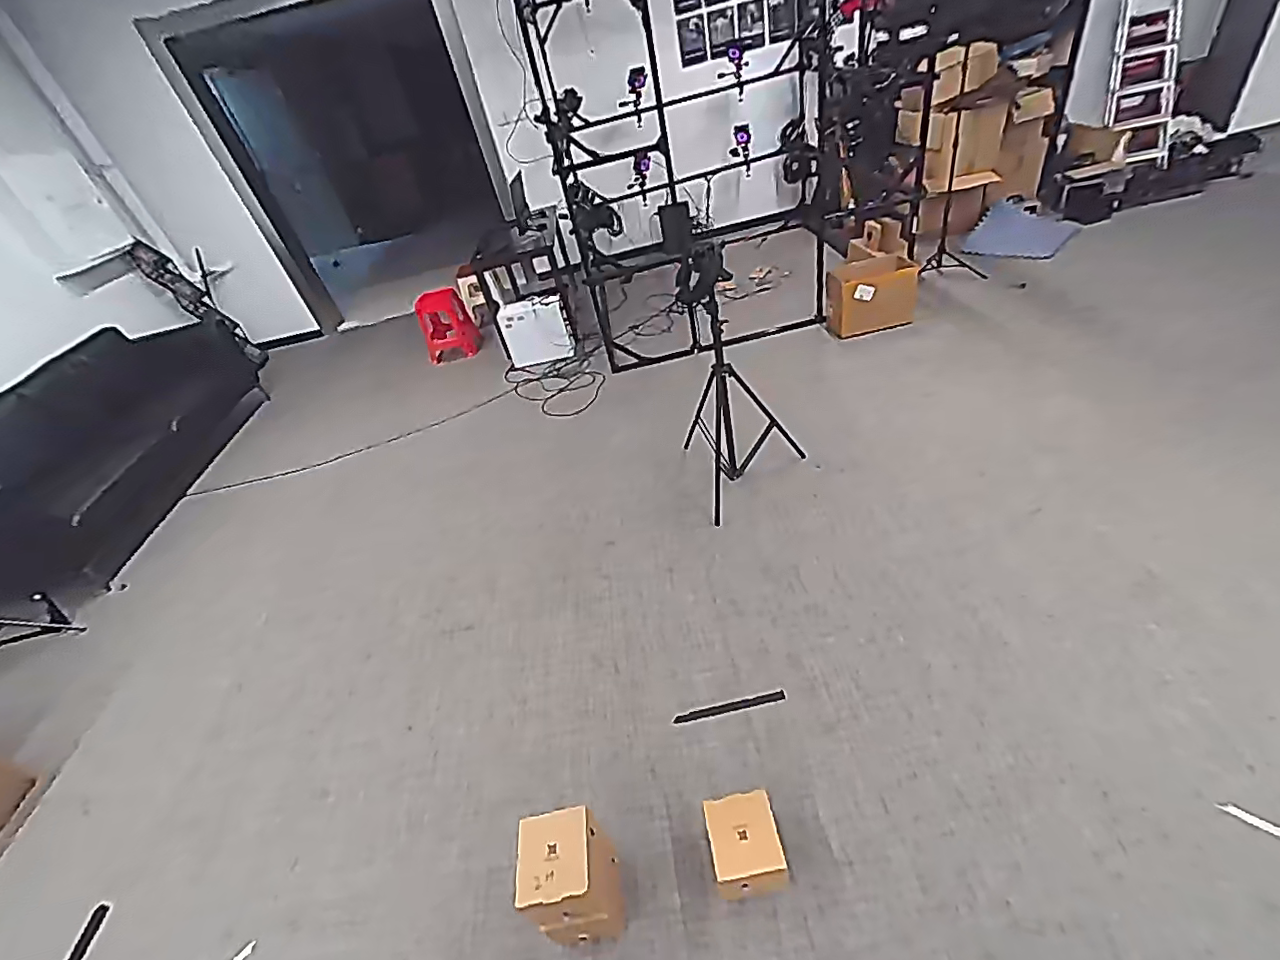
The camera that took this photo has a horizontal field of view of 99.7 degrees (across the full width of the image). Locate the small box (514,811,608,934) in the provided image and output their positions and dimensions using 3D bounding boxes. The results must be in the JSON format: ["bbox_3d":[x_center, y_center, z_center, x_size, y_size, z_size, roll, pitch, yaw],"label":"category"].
[{"bbox_3d":[-0.176,0.904,1.245,0.168,0.176,0.179,-15,39,3],"label":"small box"}]

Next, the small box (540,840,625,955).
[{"bbox_3d":[-0.140,1.033,1.339,0.168,0.176,0.179,-15,38,3],"label":"small box"}]

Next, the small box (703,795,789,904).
[{"bbox_3d":[0.265,0.922,1.342,0.168,0.176,0.179,-14,37,1],"label":"small box"}]
